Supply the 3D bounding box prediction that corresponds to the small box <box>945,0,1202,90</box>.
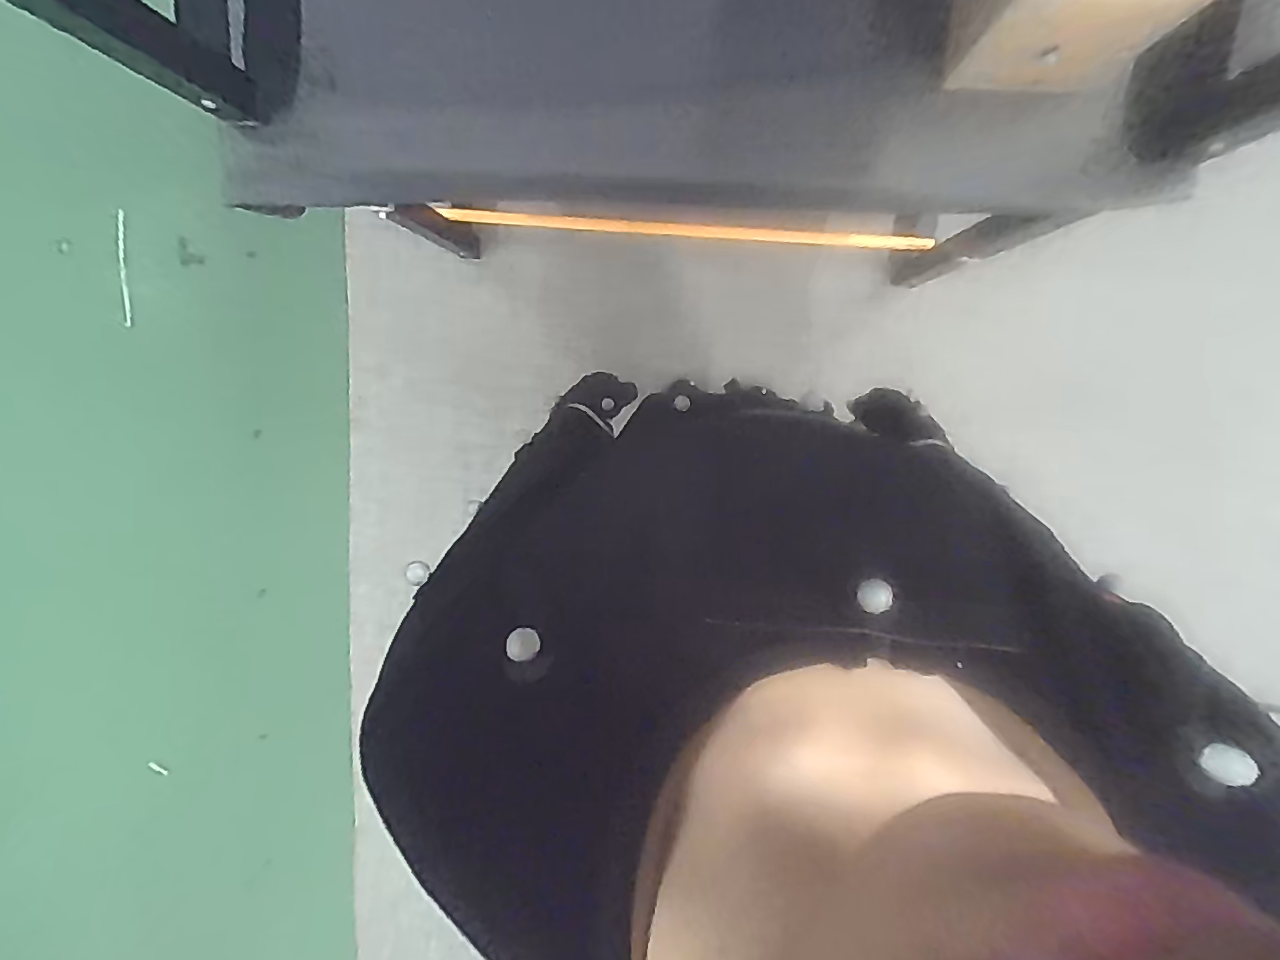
[{"bbox_3d":[0.433,-0.525,0.538,0.168,0.176,0.179,5,100,4],"label":"small box"}]
